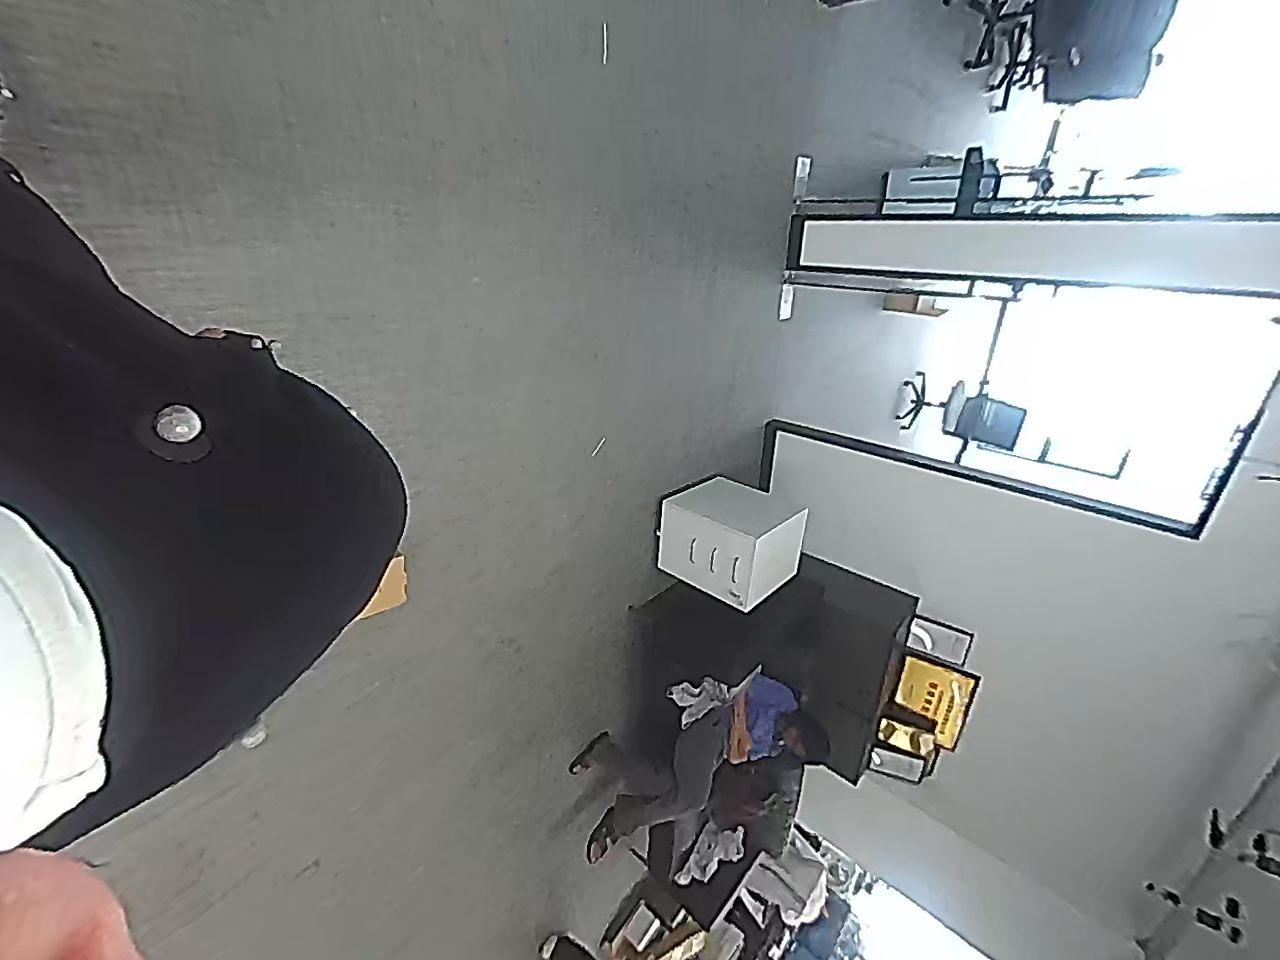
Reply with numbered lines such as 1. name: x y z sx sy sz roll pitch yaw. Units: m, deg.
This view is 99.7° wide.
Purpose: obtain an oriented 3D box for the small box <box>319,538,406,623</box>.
1. small box: -0.822 0.288 1.604 0.179 0.176 0.168 -17 120 -47
